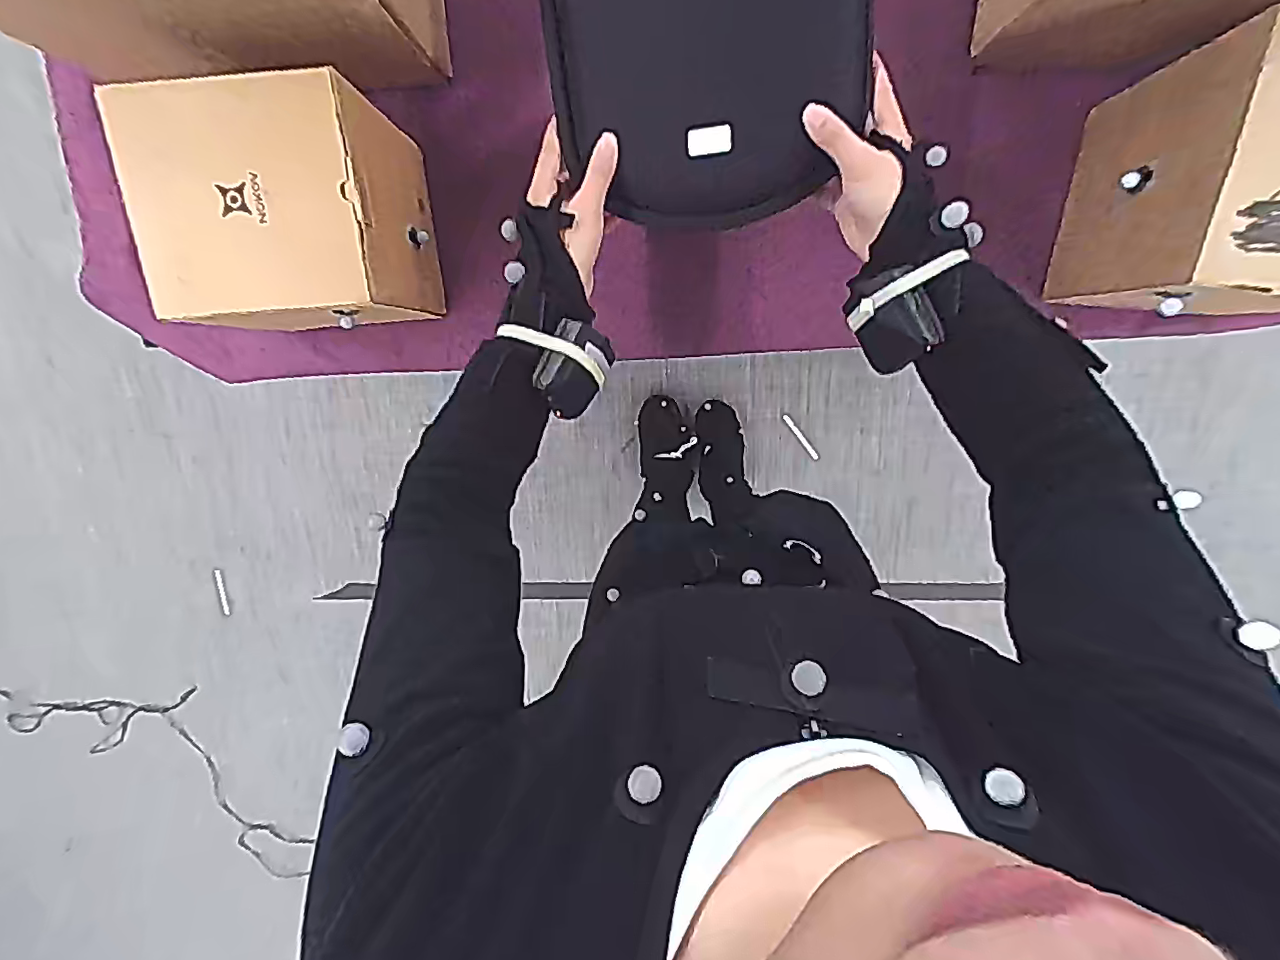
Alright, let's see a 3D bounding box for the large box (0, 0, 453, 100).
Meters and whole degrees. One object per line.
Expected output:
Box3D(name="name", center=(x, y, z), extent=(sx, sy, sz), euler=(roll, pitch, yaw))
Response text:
Box3D(name="large box", center=(-0.347, -0.539, 0.348), extent=(0.320, 0.320, 0.408), euler=(-3, 107, 2))
